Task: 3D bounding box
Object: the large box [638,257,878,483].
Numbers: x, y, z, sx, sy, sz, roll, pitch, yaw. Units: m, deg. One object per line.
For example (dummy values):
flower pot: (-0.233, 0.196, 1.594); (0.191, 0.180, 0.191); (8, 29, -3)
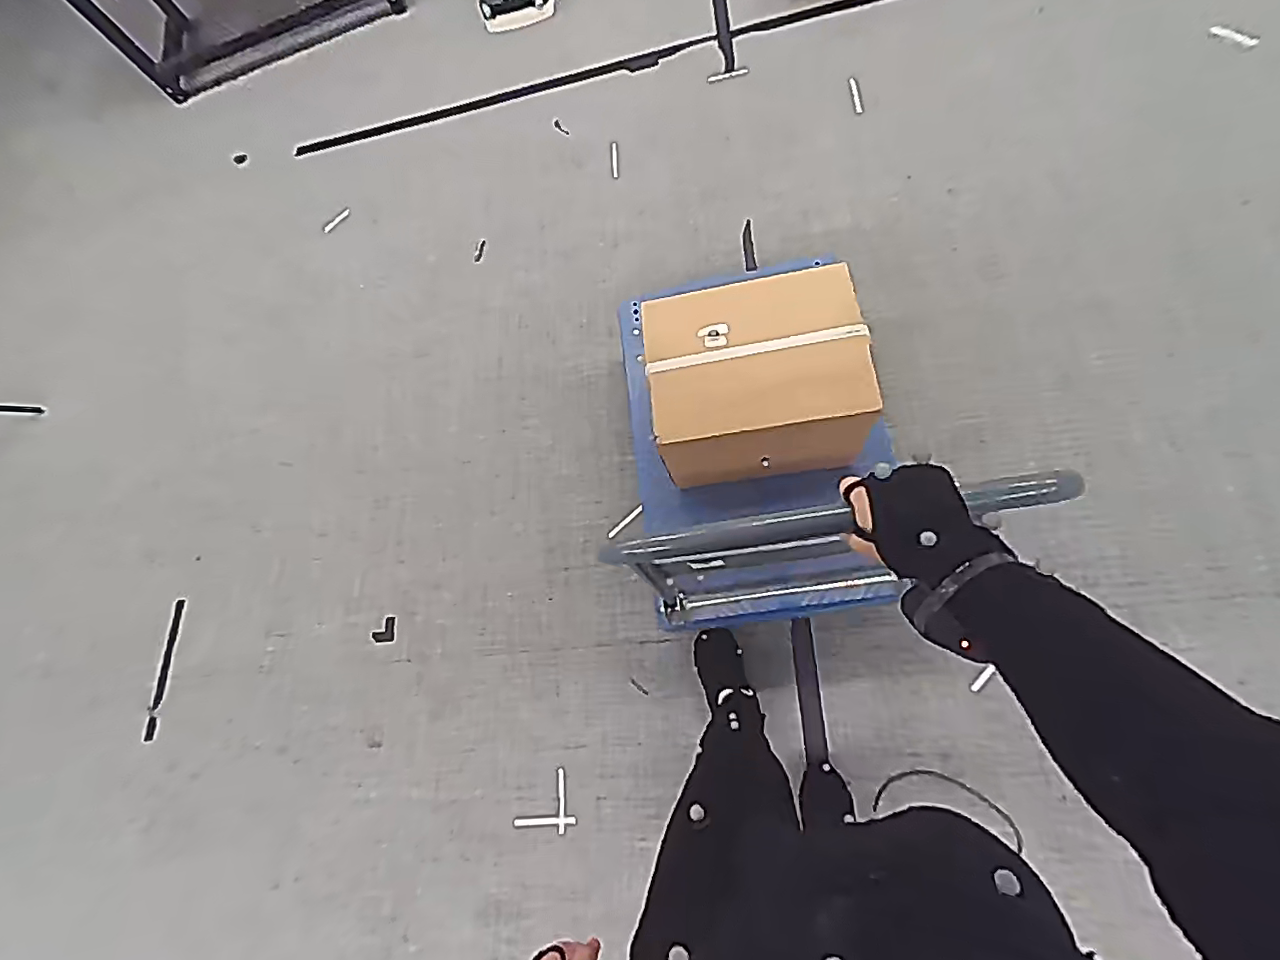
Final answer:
large box: (0.236, -0.205, 1.148); (0.408, 0.320, 0.320); (-9, 71, 10)
